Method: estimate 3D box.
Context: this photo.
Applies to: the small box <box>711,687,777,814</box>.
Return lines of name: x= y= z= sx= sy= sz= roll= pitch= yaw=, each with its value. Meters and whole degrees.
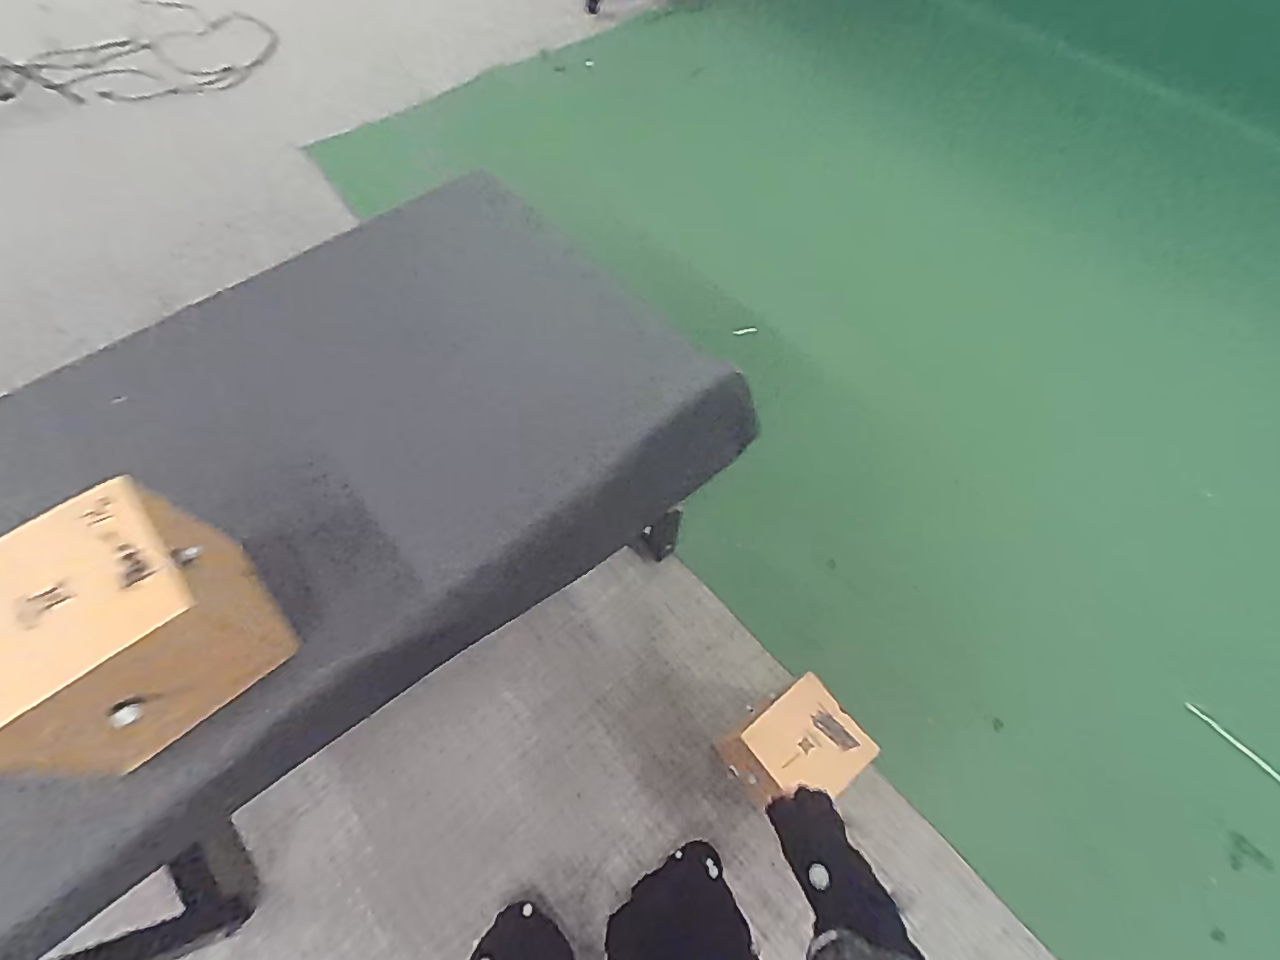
small box: x=0.268 y=0.559 z=1.135 sx=0.179 sy=0.176 sz=0.168 roll=-34 pitch=68 yaw=-16

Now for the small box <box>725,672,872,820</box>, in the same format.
small box: x=0.277 y=0.481 z=0.990 sx=0.179 sy=0.176 sz=0.168 roll=-33 pitch=68 yaw=-17

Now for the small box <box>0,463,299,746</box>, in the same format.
small box: x=-0.474 y=0.124 z=0.507 sx=0.179 sy=0.176 sz=0.168 roll=-37 pitch=69 yaw=-19
